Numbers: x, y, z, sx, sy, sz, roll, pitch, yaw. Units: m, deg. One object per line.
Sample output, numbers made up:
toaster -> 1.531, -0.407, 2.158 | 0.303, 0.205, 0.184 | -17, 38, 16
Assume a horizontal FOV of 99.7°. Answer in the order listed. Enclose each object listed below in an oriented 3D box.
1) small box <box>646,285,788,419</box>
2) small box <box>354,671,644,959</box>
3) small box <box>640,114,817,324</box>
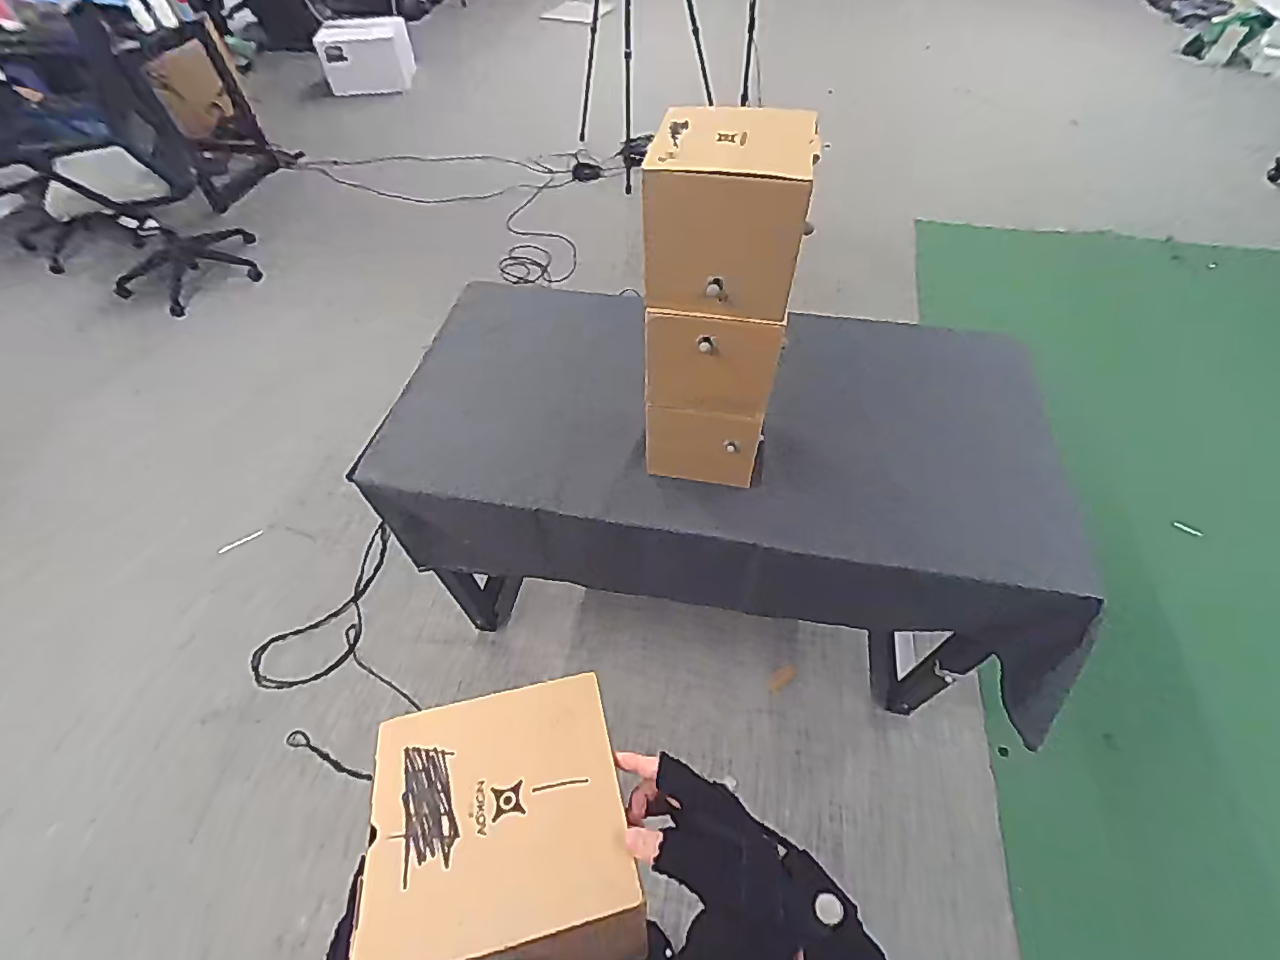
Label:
small box -> 0.108, -0.207, 0.781 | 0.179, 0.176, 0.168 | 7, 53, 8
small box -> -0.099, 0.288, 0.436 | 0.179, 0.176, 0.168 | -9, 40, -10
small box -> 0.103, -0.311, 0.654 | 0.179, 0.176, 0.168 | 10, 54, 9
